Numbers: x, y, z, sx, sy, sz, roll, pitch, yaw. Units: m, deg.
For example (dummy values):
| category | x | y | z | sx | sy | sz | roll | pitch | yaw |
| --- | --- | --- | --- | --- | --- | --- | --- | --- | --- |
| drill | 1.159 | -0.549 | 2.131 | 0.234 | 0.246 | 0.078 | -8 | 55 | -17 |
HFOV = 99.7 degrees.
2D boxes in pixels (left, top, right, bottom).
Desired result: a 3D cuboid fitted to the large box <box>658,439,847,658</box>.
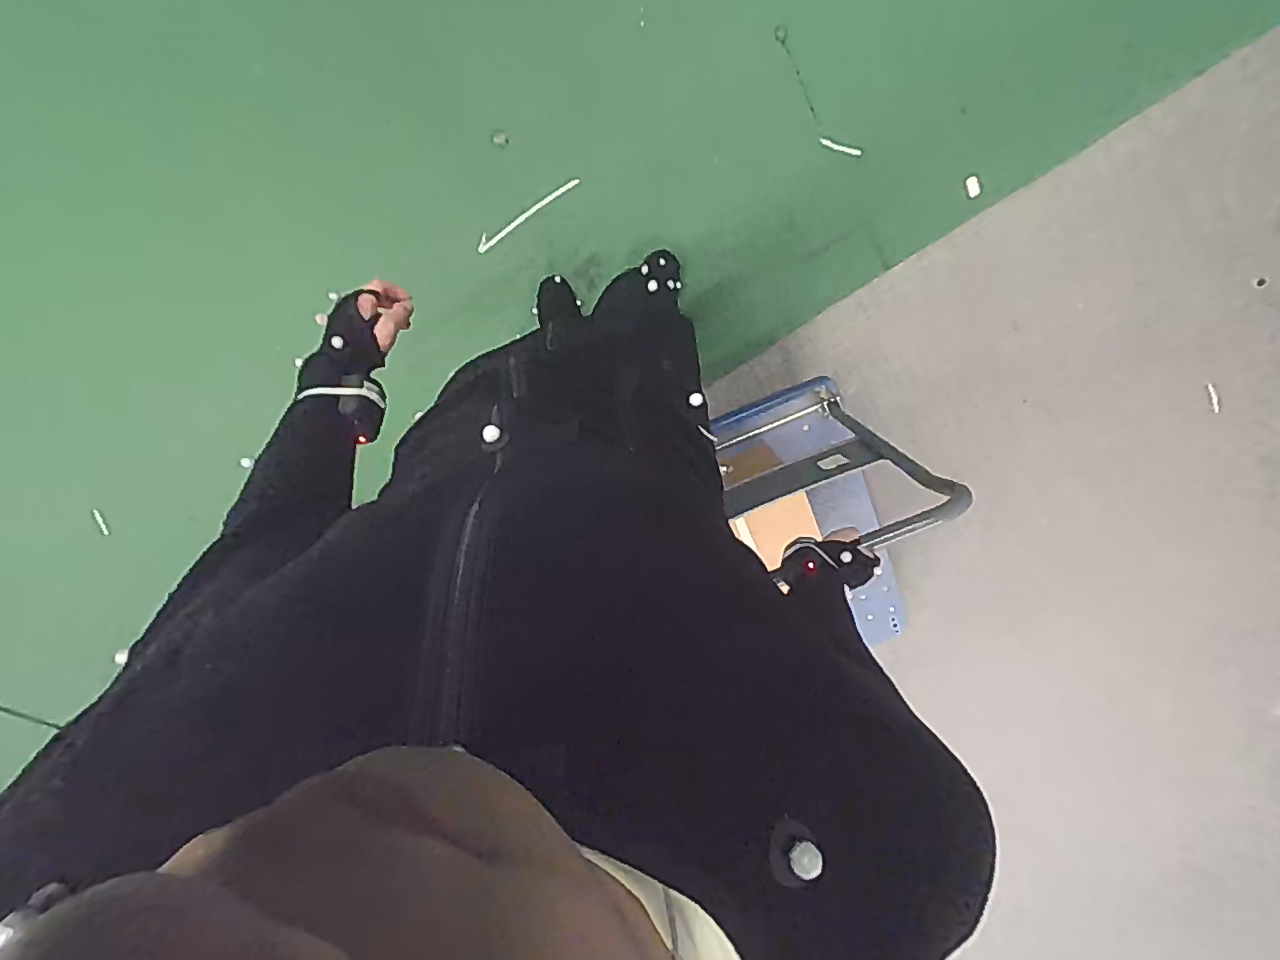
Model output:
| category | x | y | z | sx | sy | sz | roll | pitch | yaw |
| --- | --- | --- | --- | --- | --- | --- | --- | --- | --- |
| large box | 0.274 | 0.165 | 1.399 | 0.320 | 0.320 | 0.408 | -24 | 110 | 7 |
